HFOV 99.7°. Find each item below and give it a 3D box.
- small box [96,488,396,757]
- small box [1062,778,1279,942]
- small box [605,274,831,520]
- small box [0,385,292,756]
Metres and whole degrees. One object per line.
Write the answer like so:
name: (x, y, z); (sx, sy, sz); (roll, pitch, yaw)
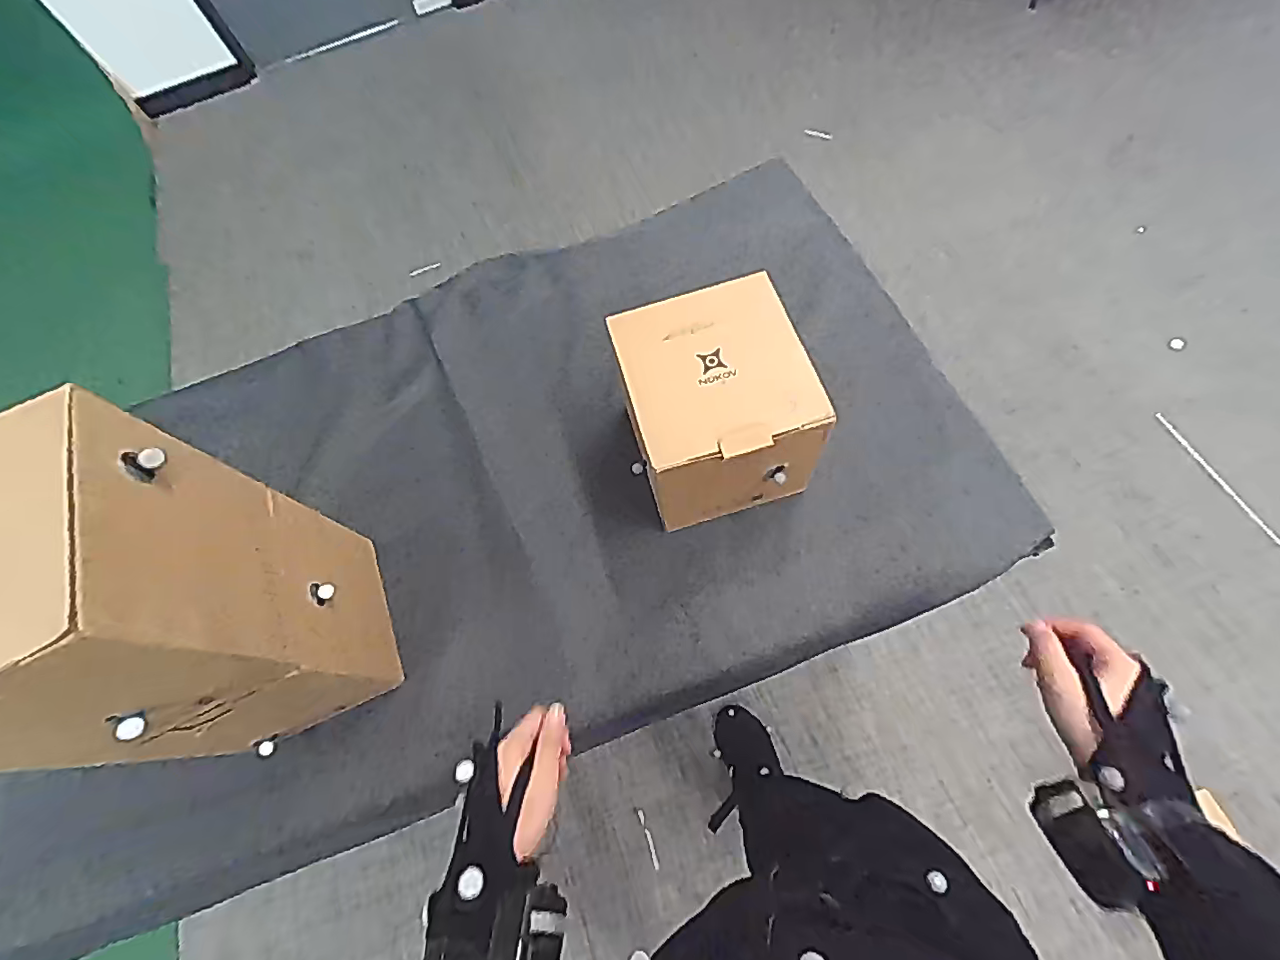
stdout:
small box: (-0.364, 0.140, 0.524); (0.168, 0.176, 0.179); (-24, 65, -4)
small box: (0.907, 0.650, 0.947); (0.168, 0.176, 0.179); (-18, 67, -1)
small box: (0.074, -0.072, 0.563); (0.168, 0.176, 0.179); (-16, 65, -1)
small box: (-0.383, 0.074, 0.374); (0.168, 0.176, 0.179); (-26, 66, -4)
